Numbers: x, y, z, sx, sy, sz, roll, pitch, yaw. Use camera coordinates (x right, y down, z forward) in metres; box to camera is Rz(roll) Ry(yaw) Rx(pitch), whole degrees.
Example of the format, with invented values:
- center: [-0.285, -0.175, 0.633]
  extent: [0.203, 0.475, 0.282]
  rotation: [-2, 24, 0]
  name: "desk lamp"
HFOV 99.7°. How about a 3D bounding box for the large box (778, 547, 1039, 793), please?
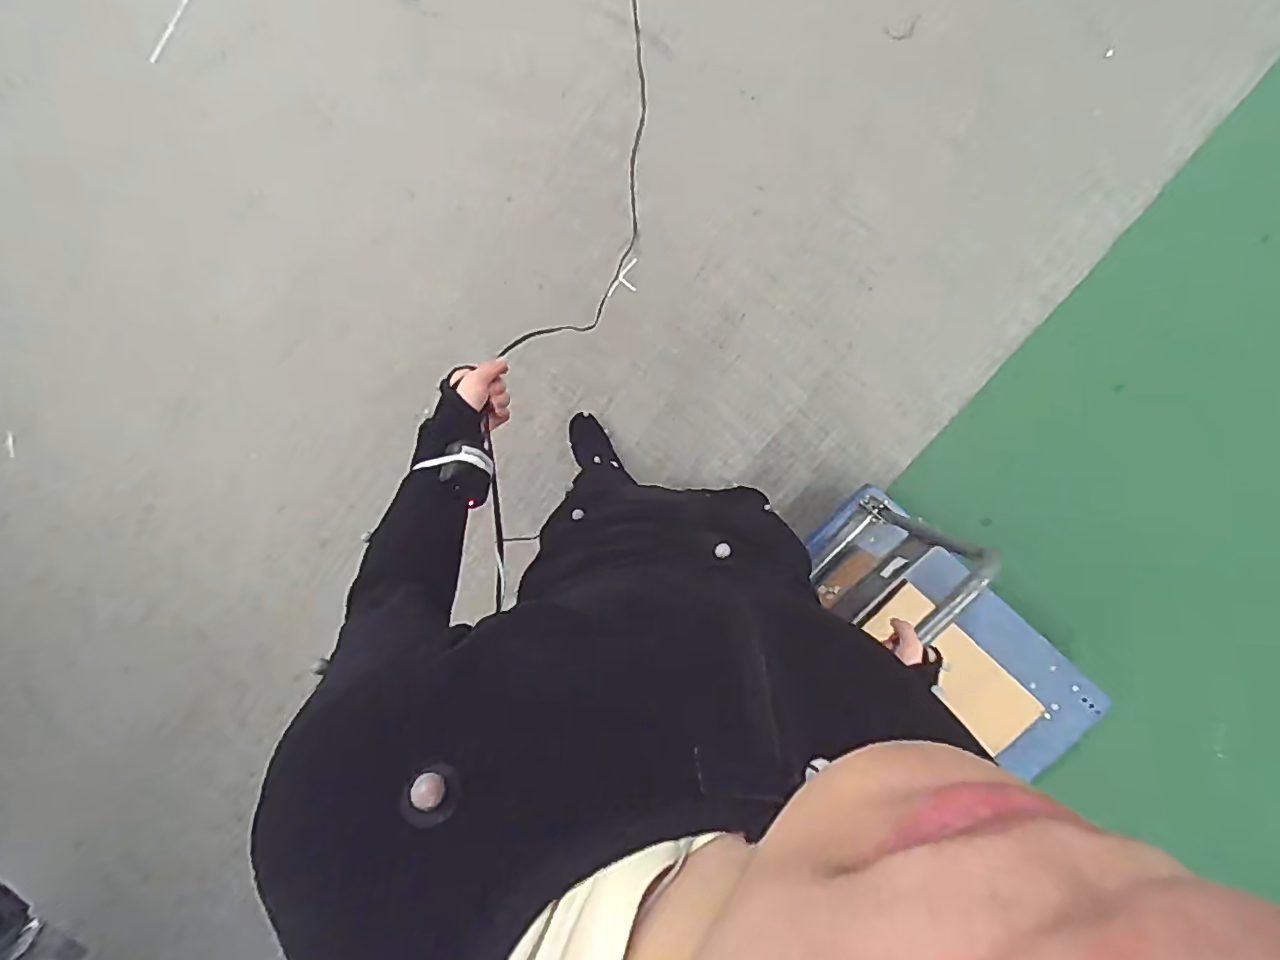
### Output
- center: [0.607, 0.429, 1.304]
  extent: [0.408, 0.320, 0.320]
  rotation: [43, 98, -2]
  name: "large box"
